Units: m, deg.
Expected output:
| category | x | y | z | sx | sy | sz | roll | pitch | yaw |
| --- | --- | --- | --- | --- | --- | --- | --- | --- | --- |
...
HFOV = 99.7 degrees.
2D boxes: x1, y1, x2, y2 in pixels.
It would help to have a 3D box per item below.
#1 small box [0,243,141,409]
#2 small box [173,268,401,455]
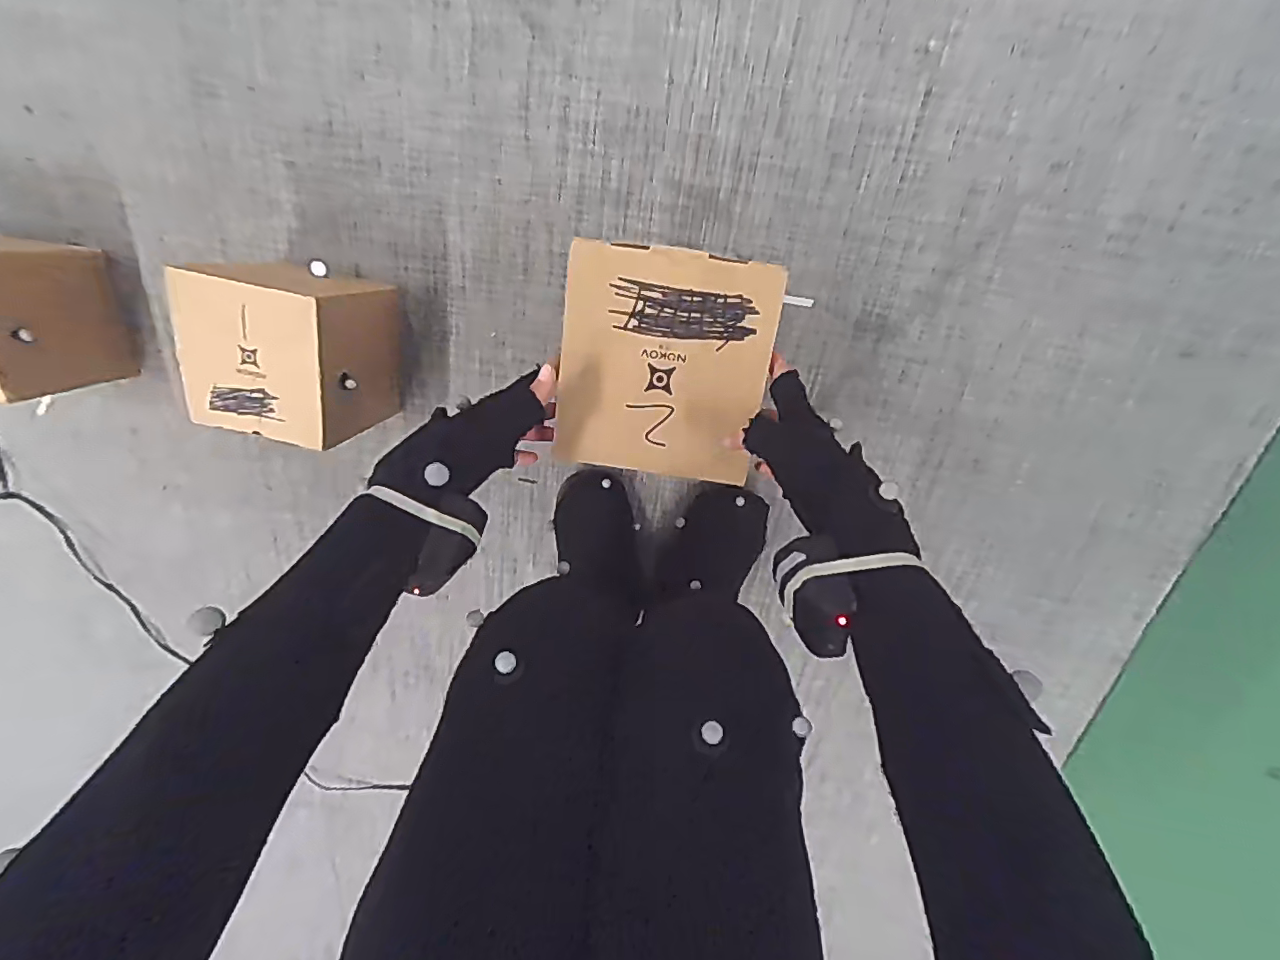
| category | x | y | z | sx | sy | sz | roll | pitch | yaw |
| --- | --- | --- | --- | --- | --- | --- | --- | --- | --- |
| small box | -0.815 | -0.207 | 0.699 | 0.168 | 0.176 | 0.179 | 8 | 115 | 4 |
| small box | -0.416 | -0.154 | 0.670 | 0.168 | 0.176 | 0.179 | 12 | 114 | 2 |
